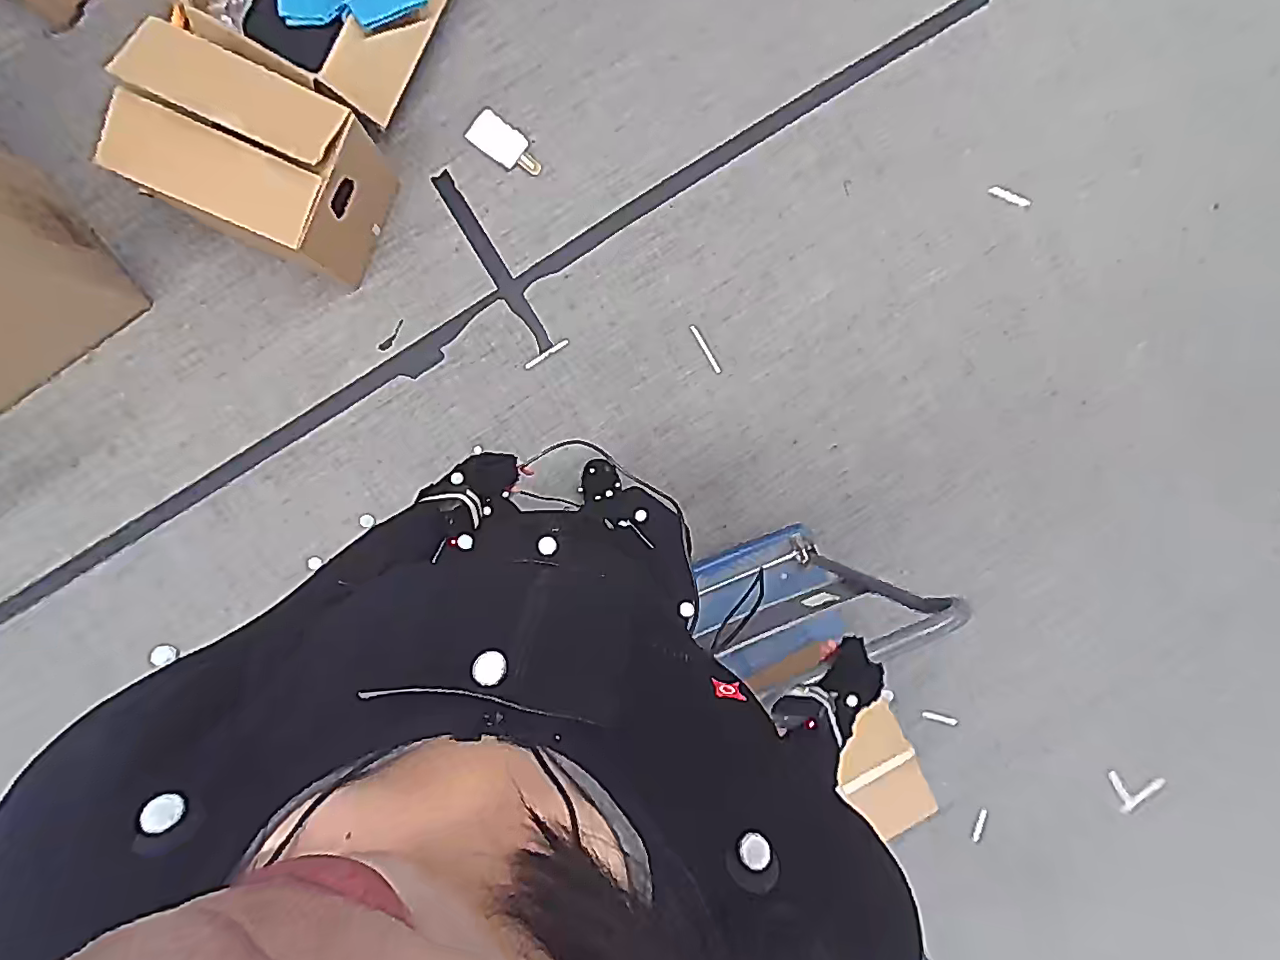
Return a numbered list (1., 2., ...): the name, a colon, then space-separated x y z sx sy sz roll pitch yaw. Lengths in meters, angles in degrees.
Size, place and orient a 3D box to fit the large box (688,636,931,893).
1. large box: 0.380 0.645 1.294 0.408 0.320 0.320 -28 96 -3
